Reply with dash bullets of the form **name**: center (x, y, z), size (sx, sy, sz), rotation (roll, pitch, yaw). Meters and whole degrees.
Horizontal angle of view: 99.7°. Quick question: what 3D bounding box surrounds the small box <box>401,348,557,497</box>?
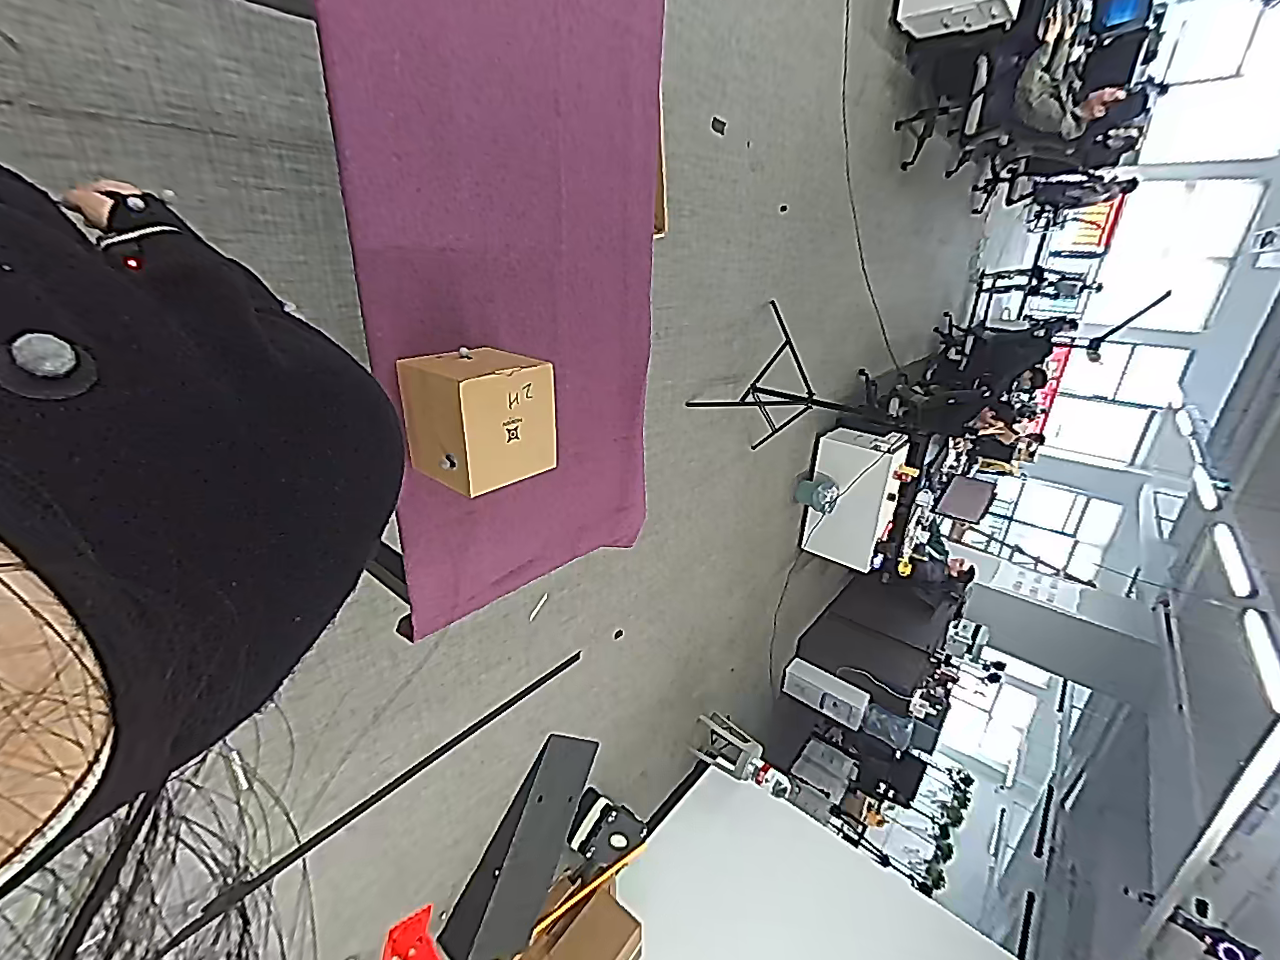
- **small box**: center (-0.248, -0.099, 0.846), size (0.168, 0.176, 0.179), rotation (-25, 125, -45)
